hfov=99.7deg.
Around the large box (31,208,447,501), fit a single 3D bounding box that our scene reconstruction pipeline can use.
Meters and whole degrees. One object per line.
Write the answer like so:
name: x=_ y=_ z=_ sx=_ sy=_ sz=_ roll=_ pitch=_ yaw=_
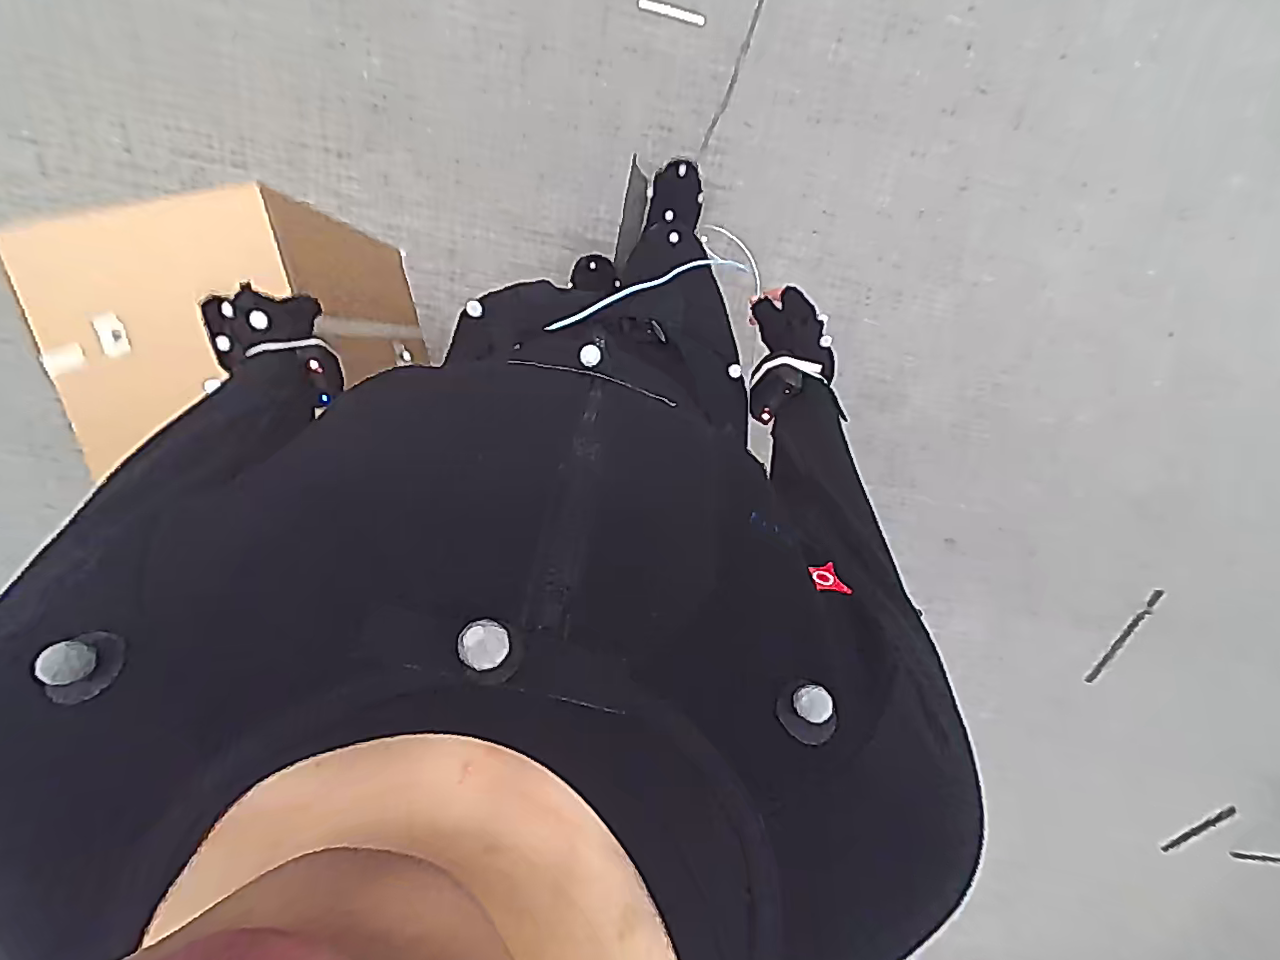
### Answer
large box: x=-0.555 y=-0.190 z=0.856 sx=0.320 sy=0.408 sz=0.320 roll=-11 pitch=103 yaw=0
